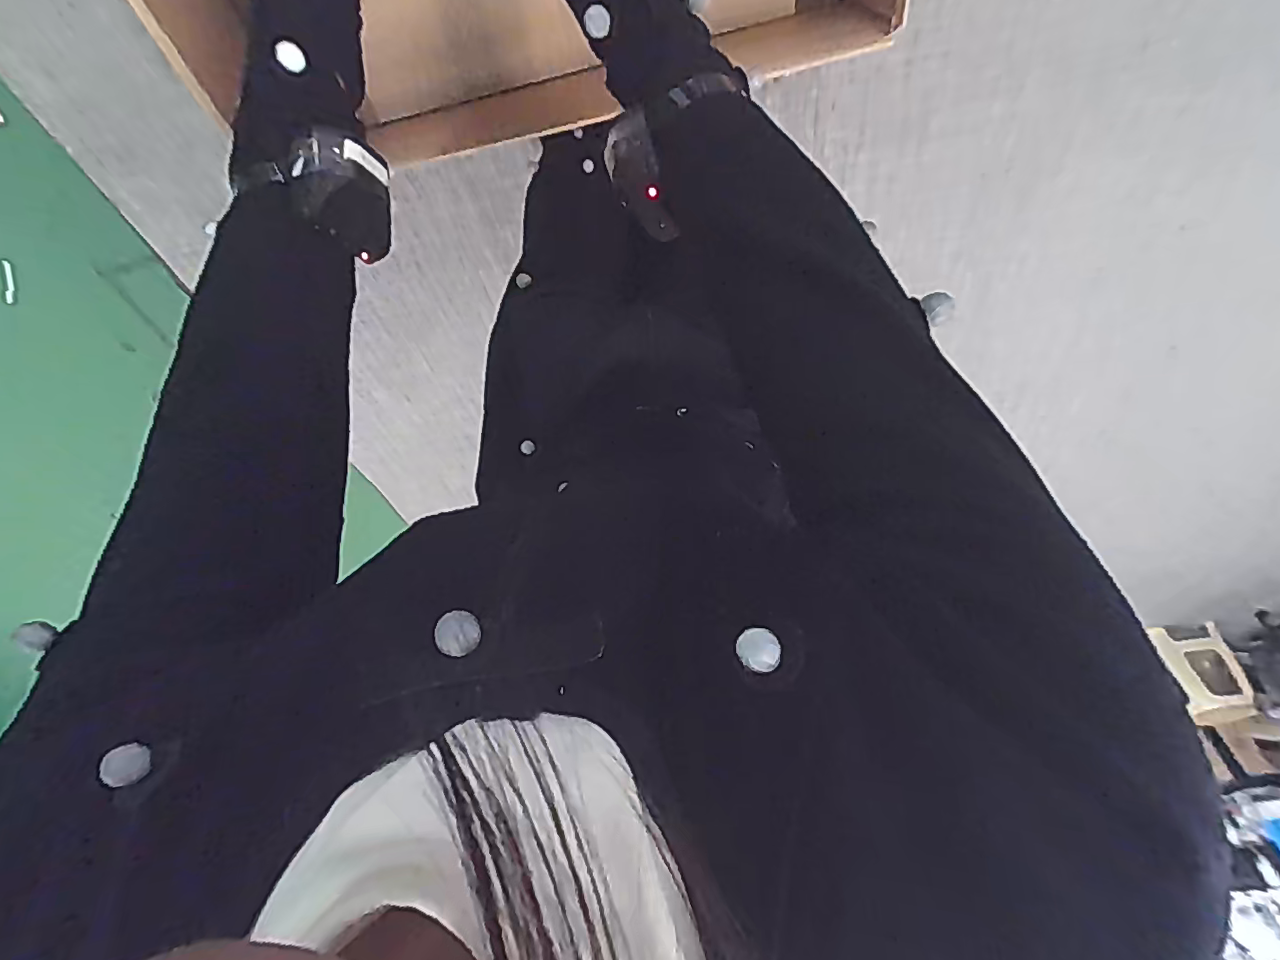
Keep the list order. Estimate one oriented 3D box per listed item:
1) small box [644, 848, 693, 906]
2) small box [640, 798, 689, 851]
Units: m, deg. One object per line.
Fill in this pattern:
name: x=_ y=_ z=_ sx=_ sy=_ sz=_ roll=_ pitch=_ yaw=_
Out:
small box: x=0.110 y=1.525 z=2.080 sx=0.168 sy=0.176 sz=0.179 roll=-9 pitch=140 yaw=4
small box: x=0.099 y=1.396 z=2.181 sx=0.168 sy=0.176 sz=0.179 roll=-12 pitch=139 yaw=7
